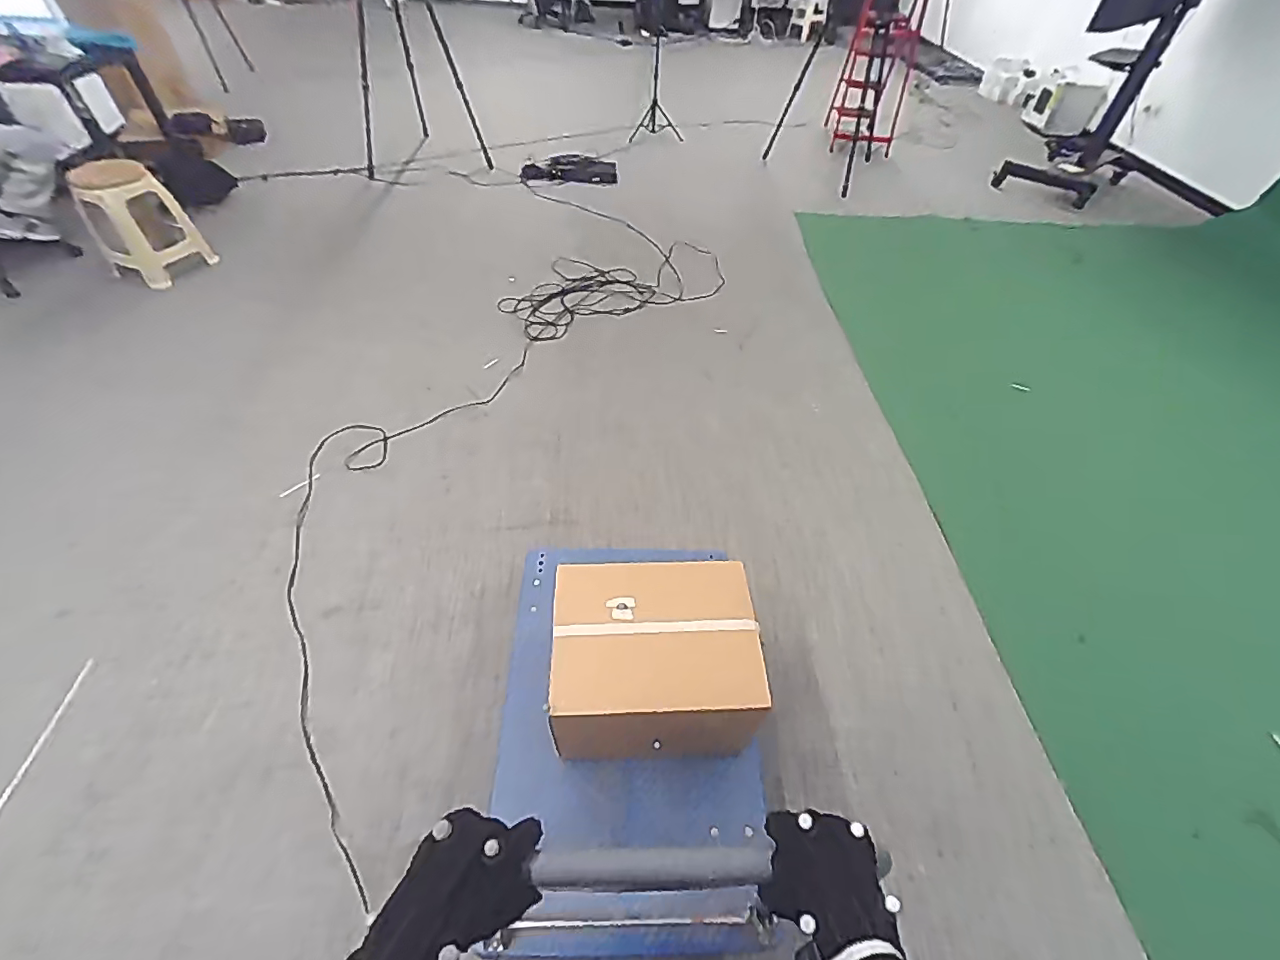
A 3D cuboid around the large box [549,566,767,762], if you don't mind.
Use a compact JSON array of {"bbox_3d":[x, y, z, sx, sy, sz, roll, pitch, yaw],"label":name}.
[{"bbox_3d":[0.026,0.407,1.185,0.408,0.320,0.320,-2,48,-2],"label":"large box"}]
